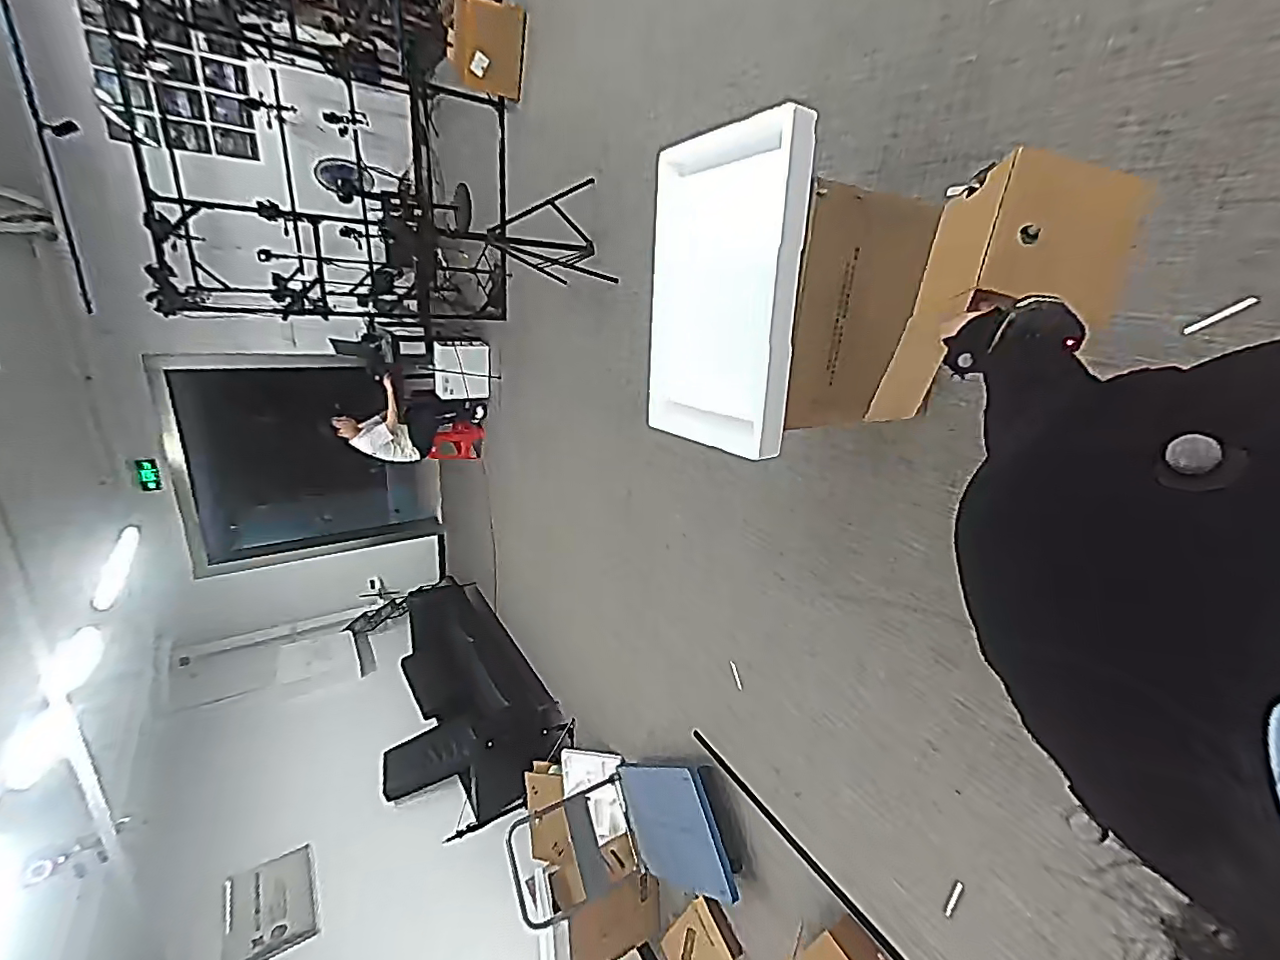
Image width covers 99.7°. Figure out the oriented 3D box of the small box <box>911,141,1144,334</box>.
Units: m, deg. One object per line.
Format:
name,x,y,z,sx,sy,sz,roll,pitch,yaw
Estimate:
small box,0.501,-0.303,0.717,0.168,0.176,0.179,-83,8,-84
